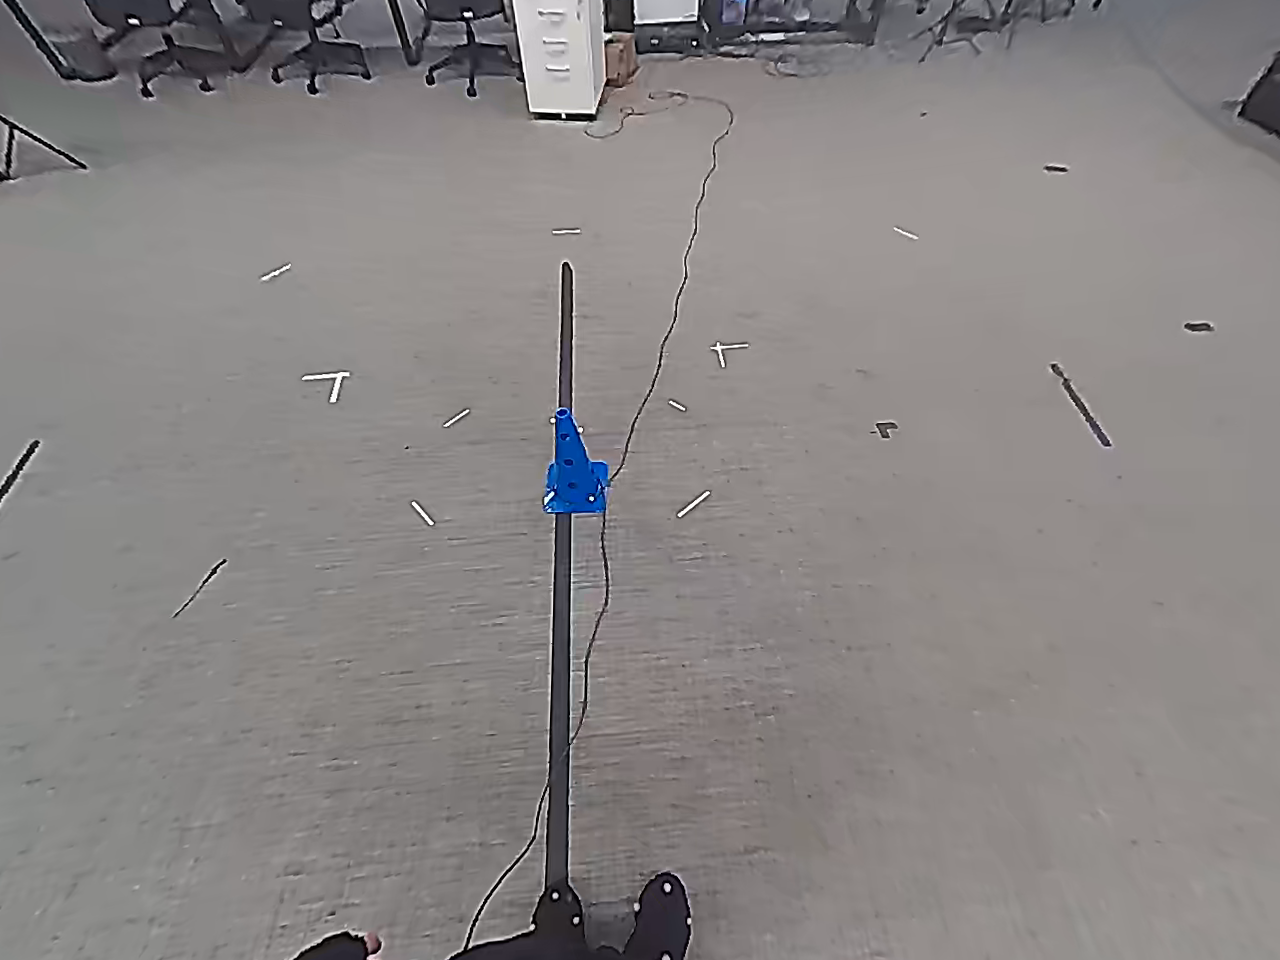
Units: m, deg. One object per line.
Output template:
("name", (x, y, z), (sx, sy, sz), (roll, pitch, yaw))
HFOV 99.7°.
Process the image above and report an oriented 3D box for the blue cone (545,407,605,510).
("blue cone", (-0.207, -0.082, 1.603), (0.193, 0.380, 0.192), (-1, 54, -1))
